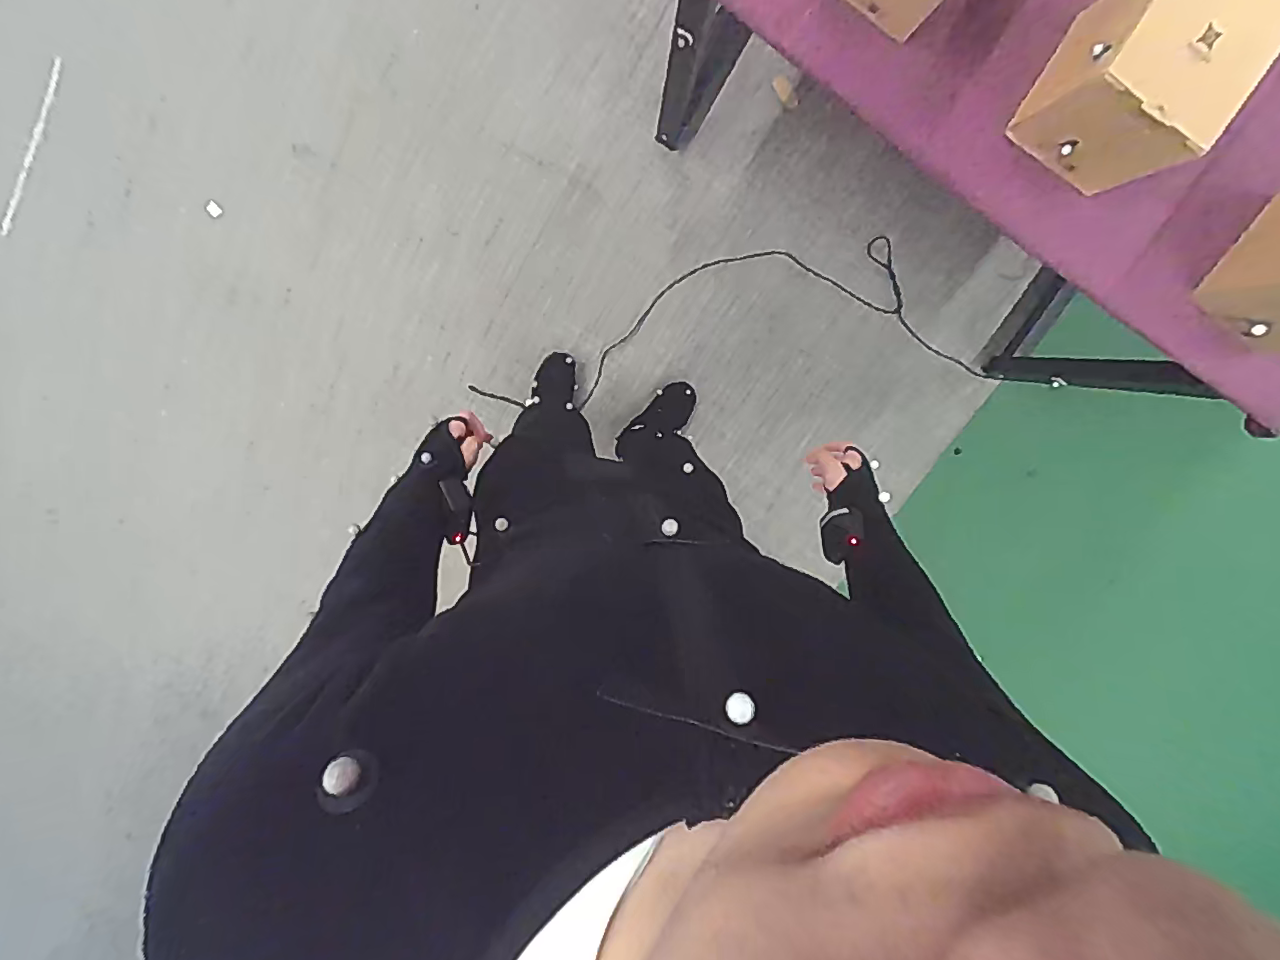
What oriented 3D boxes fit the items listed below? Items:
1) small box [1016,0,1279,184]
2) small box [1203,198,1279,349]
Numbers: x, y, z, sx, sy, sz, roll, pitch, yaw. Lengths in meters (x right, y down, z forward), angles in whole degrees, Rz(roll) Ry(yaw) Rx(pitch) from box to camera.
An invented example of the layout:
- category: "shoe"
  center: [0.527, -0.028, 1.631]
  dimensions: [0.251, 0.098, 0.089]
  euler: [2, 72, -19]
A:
- category: "small box"
  center: [0.636, -0.518, 0.683]
  dimensions: [0.168, 0.176, 0.179]
  euler: [29, 101, -9]
- category: "small box"
  center: [0.964, -0.297, 0.744]
  dimensions: [0.168, 0.176, 0.179]
  euler: [34, 101, -8]
